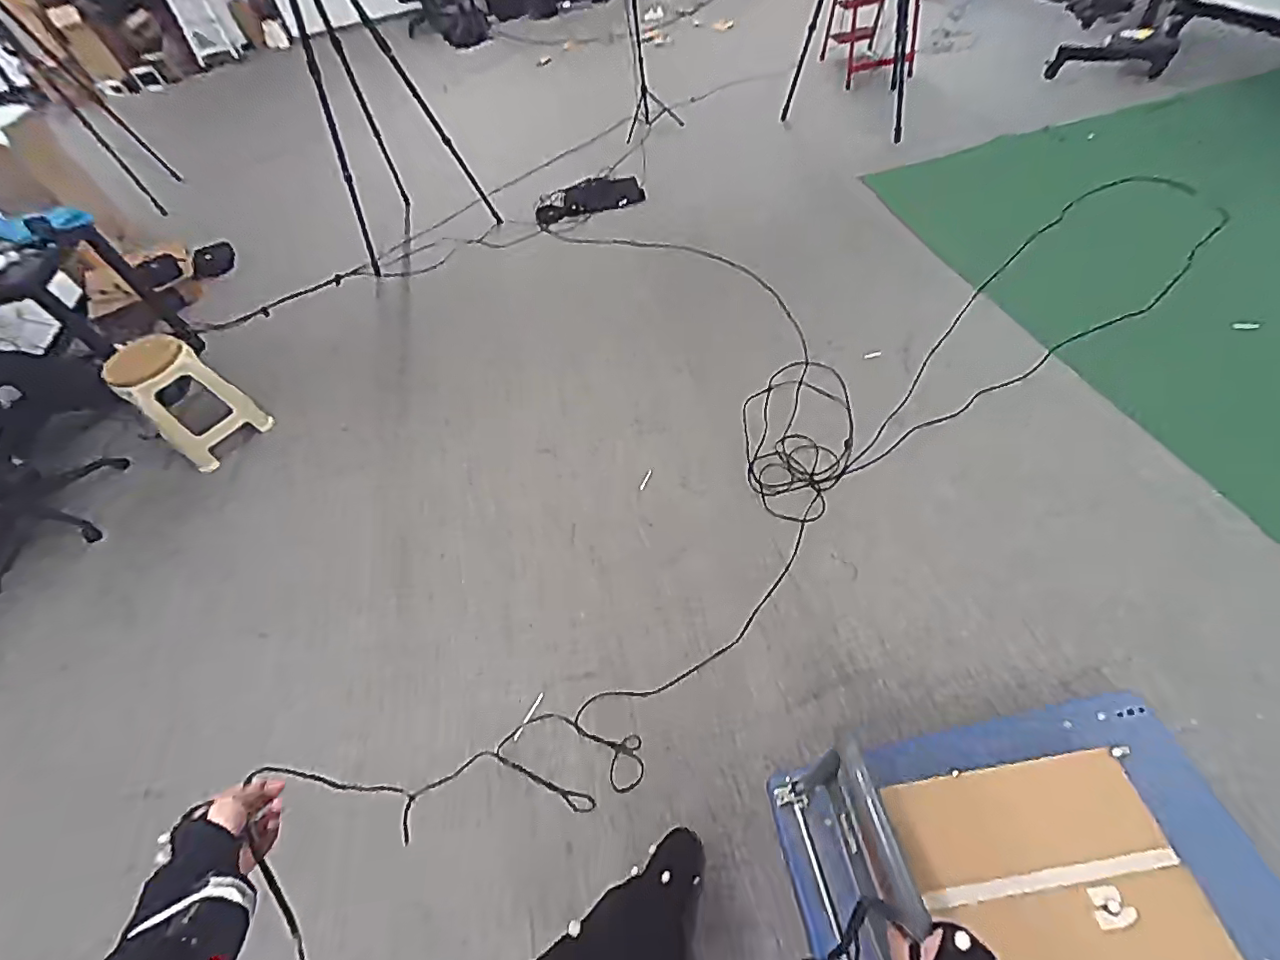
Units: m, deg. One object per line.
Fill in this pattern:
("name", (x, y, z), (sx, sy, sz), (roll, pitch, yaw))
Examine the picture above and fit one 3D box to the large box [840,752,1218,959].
("large box", (0.627, 0.719, 0.960), (0.408, 0.320, 0.320), (-11, 52, 0))
